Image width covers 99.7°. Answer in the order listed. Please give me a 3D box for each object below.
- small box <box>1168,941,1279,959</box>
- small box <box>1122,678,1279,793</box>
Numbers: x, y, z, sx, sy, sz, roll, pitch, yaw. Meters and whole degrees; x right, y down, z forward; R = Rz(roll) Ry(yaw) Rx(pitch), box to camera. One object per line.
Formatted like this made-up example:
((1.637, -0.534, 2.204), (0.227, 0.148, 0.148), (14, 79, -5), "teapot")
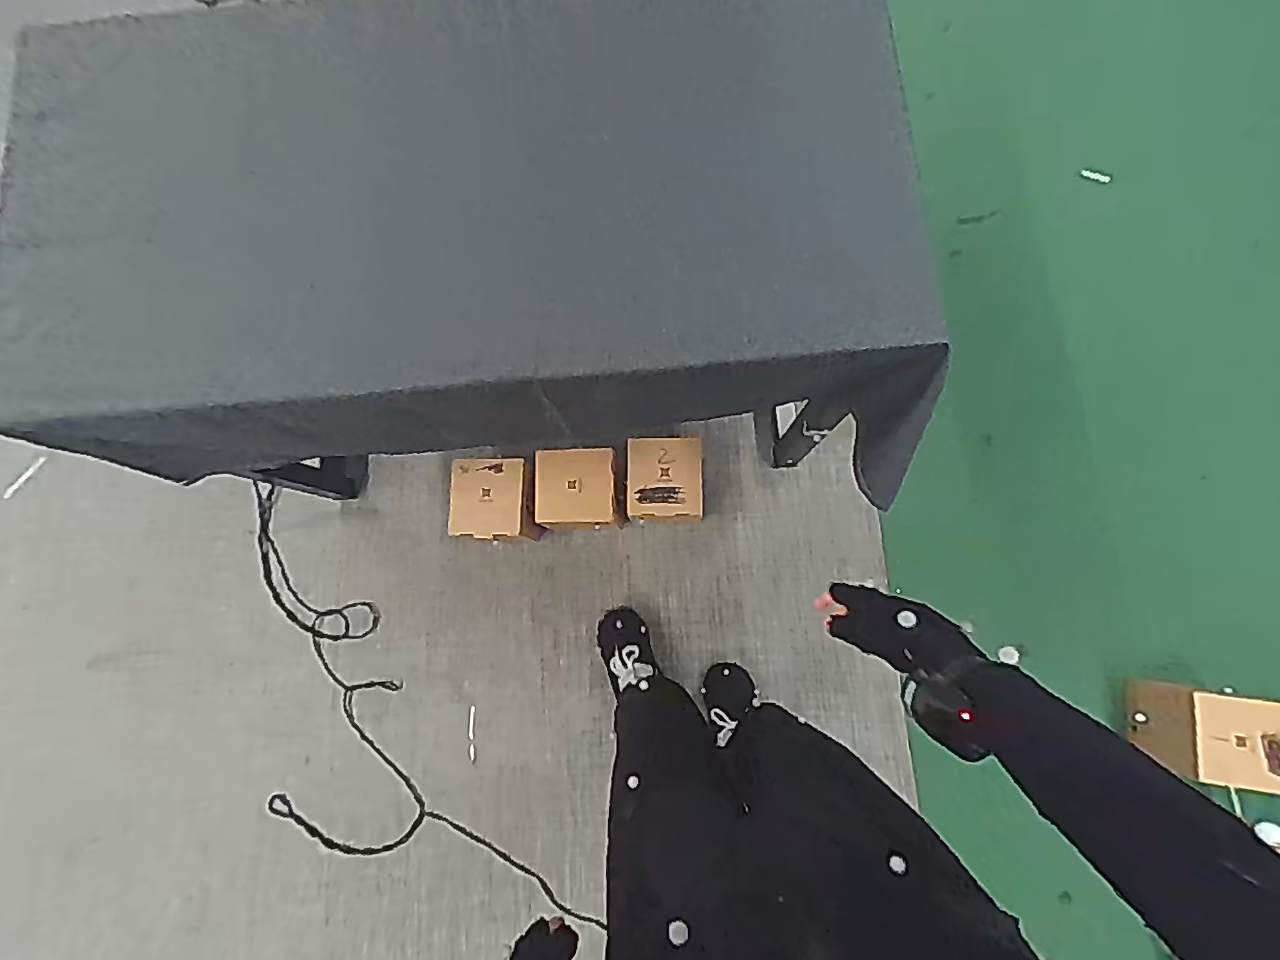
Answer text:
((1.164, 1.006, 1.007), (0.179, 0.176, 0.168), (-9, 78, 1), "small box")
((1.142, 0.509, 1.102), (0.179, 0.176, 0.168), (7, 79, 6), "small box")
